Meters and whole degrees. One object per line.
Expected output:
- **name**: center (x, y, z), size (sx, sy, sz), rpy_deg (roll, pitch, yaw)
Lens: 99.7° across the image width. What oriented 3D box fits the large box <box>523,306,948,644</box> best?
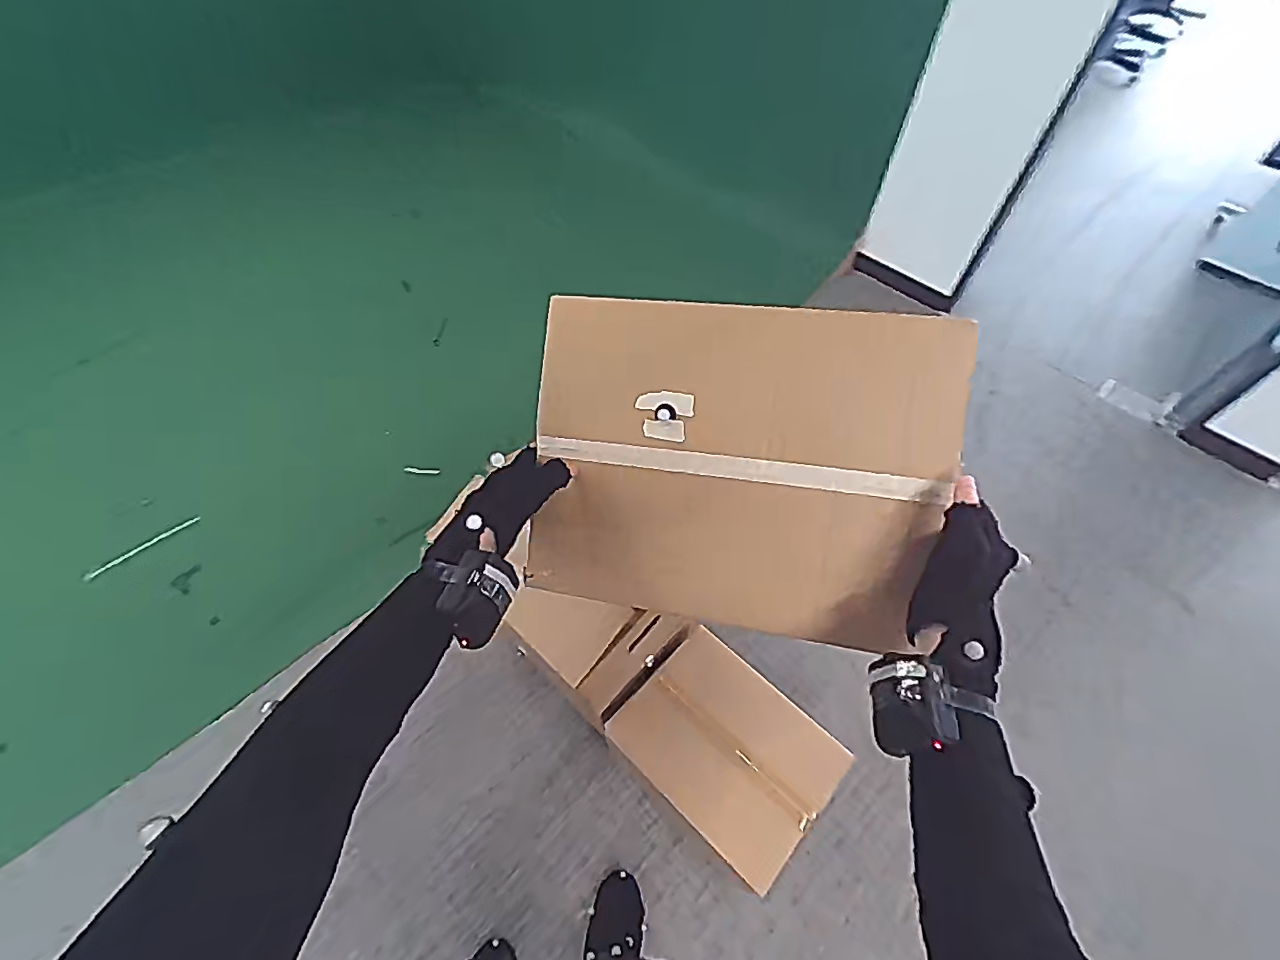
- **large box**: center (0.111, -0.024, 0.681), size (0.408, 0.320, 0.320), rpy_deg (7, 94, 14)
